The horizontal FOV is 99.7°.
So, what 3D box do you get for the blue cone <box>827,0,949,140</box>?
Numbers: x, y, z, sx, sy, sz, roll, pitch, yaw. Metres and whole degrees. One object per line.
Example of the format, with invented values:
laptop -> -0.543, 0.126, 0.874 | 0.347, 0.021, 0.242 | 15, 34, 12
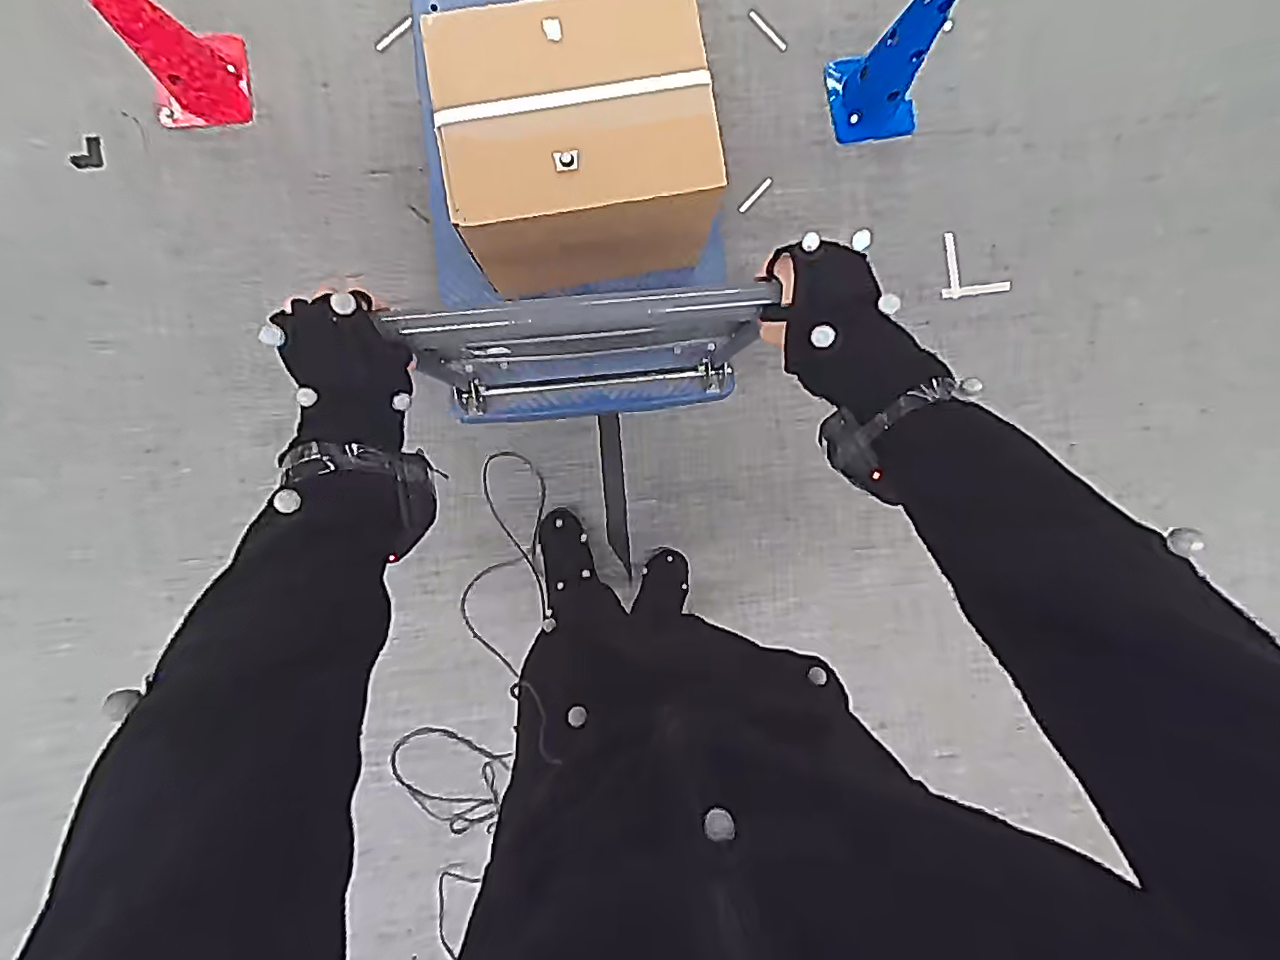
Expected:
blue cone -> 0.563, -0.921, 1.139 | 0.193, 0.380, 0.192 | -9, 89, -3
